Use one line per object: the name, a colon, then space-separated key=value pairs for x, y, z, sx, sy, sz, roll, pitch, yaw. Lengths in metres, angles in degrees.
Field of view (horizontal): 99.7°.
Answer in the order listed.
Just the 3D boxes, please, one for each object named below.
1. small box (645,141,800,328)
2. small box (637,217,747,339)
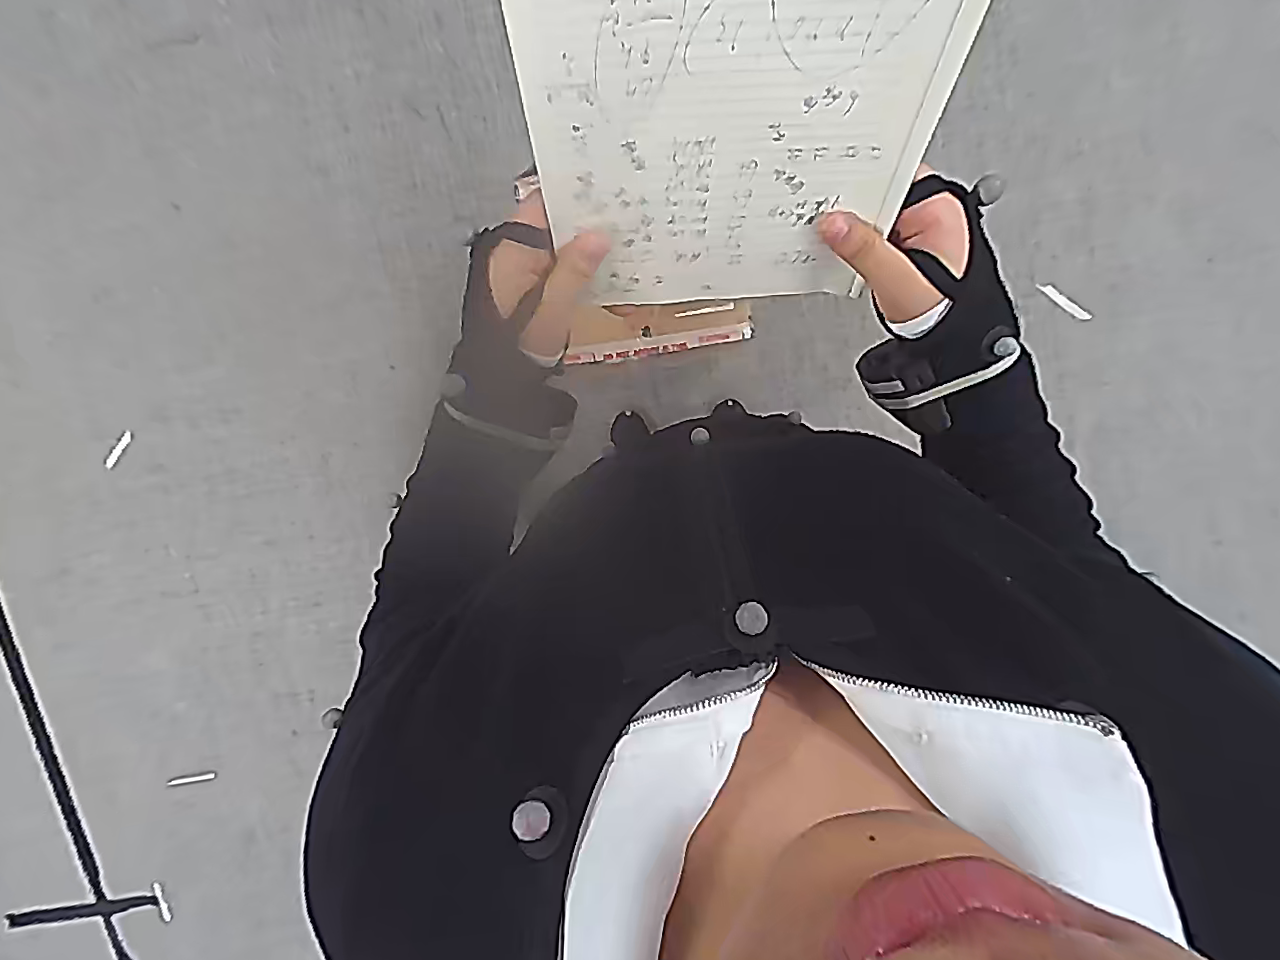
small box: x=0.100 y=-0.313 z=0.724 sx=0.168 sy=0.176 sz=0.179 roll=-9 pitch=99 yaw=1
small box: x=0.095 y=-0.337 z=0.887 sx=0.179 sy=0.176 sz=0.168 roll=-13 pitch=98 yaw=2
